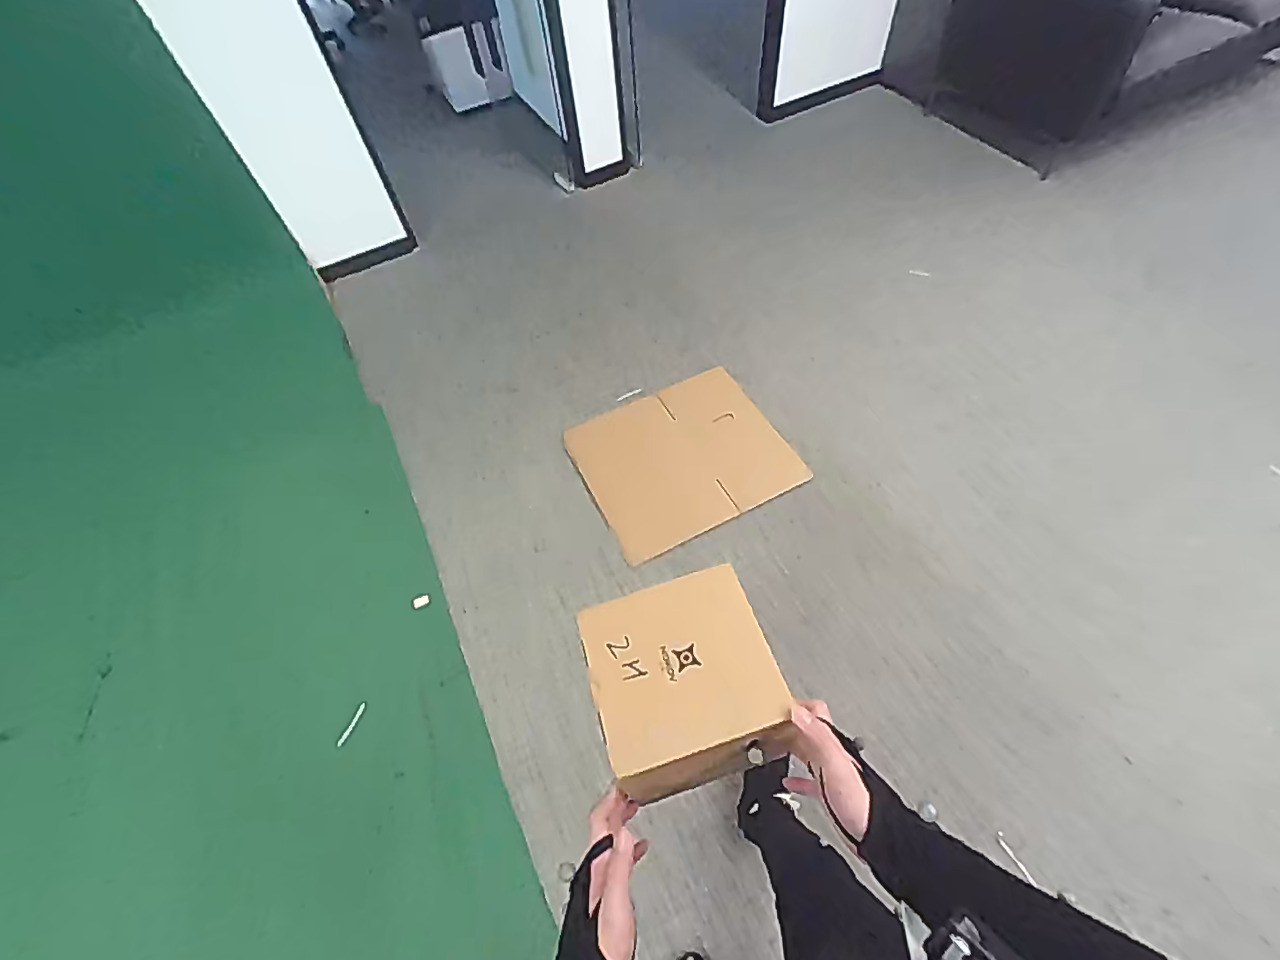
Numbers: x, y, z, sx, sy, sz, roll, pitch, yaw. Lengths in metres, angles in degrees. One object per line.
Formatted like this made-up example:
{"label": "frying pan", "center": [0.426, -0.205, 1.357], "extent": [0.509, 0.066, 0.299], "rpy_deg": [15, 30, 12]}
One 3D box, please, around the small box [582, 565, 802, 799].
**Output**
{"label": "small box", "center": [0.052, 0.222, 0.584], "extent": [0.179, 0.176, 0.168], "rpy_deg": [-18, 52, -3]}
